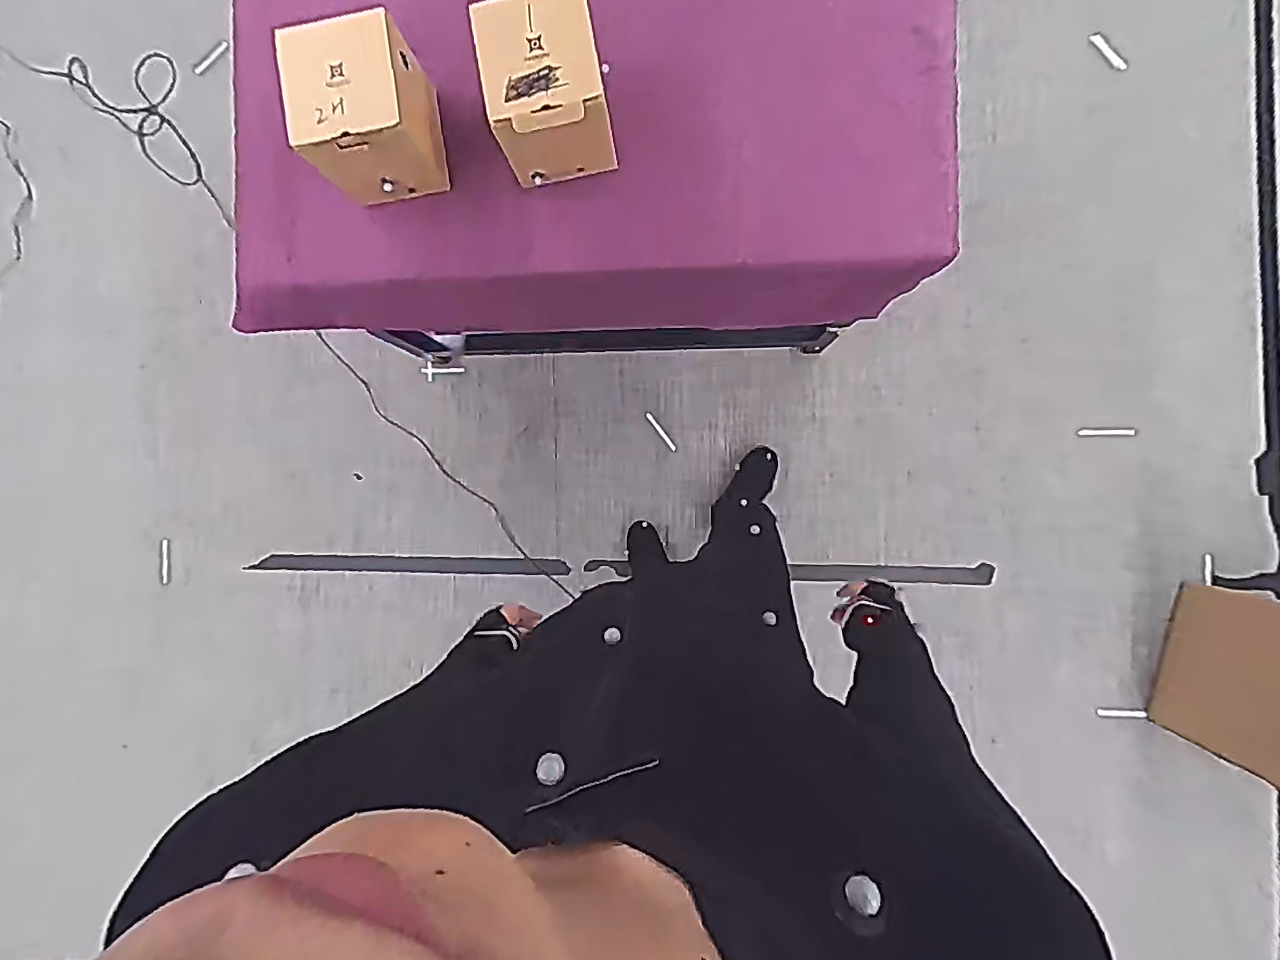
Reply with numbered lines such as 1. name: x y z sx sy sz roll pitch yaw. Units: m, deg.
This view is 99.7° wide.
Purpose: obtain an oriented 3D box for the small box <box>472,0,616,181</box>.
1. small box: -0.136 -0.589 0.830 0.168 0.176 0.179 -10 88 4

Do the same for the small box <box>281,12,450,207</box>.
1. small box: -0.418 -0.566 0.848 0.168 0.176 0.179 -9 89 4
